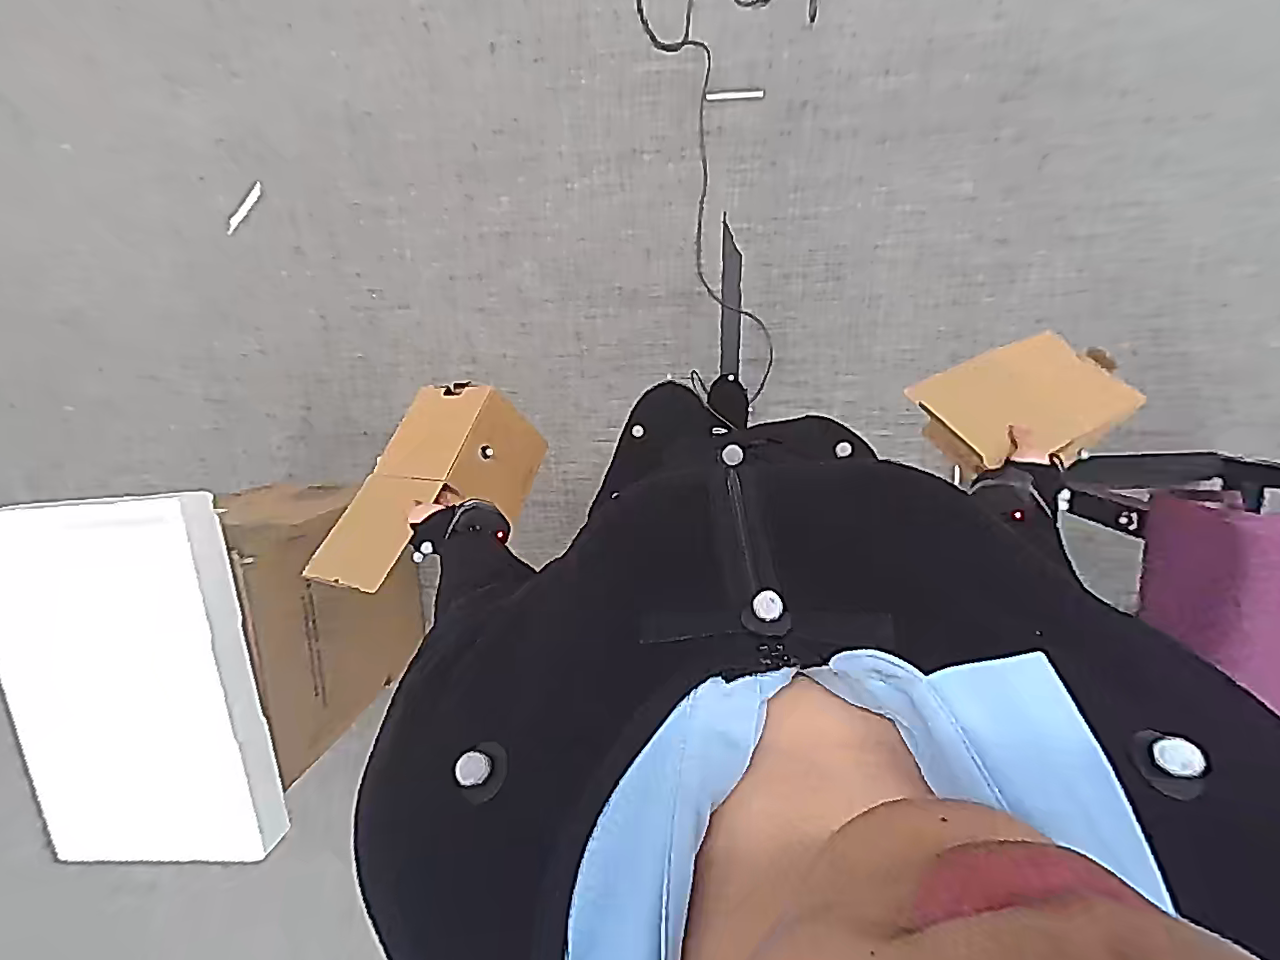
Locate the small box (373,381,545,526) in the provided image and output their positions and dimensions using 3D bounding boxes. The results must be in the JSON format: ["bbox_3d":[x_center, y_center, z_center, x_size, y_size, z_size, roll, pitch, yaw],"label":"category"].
[{"bbox_3d":[-0.282,-0.041,0.882,0.168,0.176,0.179,6,63,28],"label":"small box"}]
